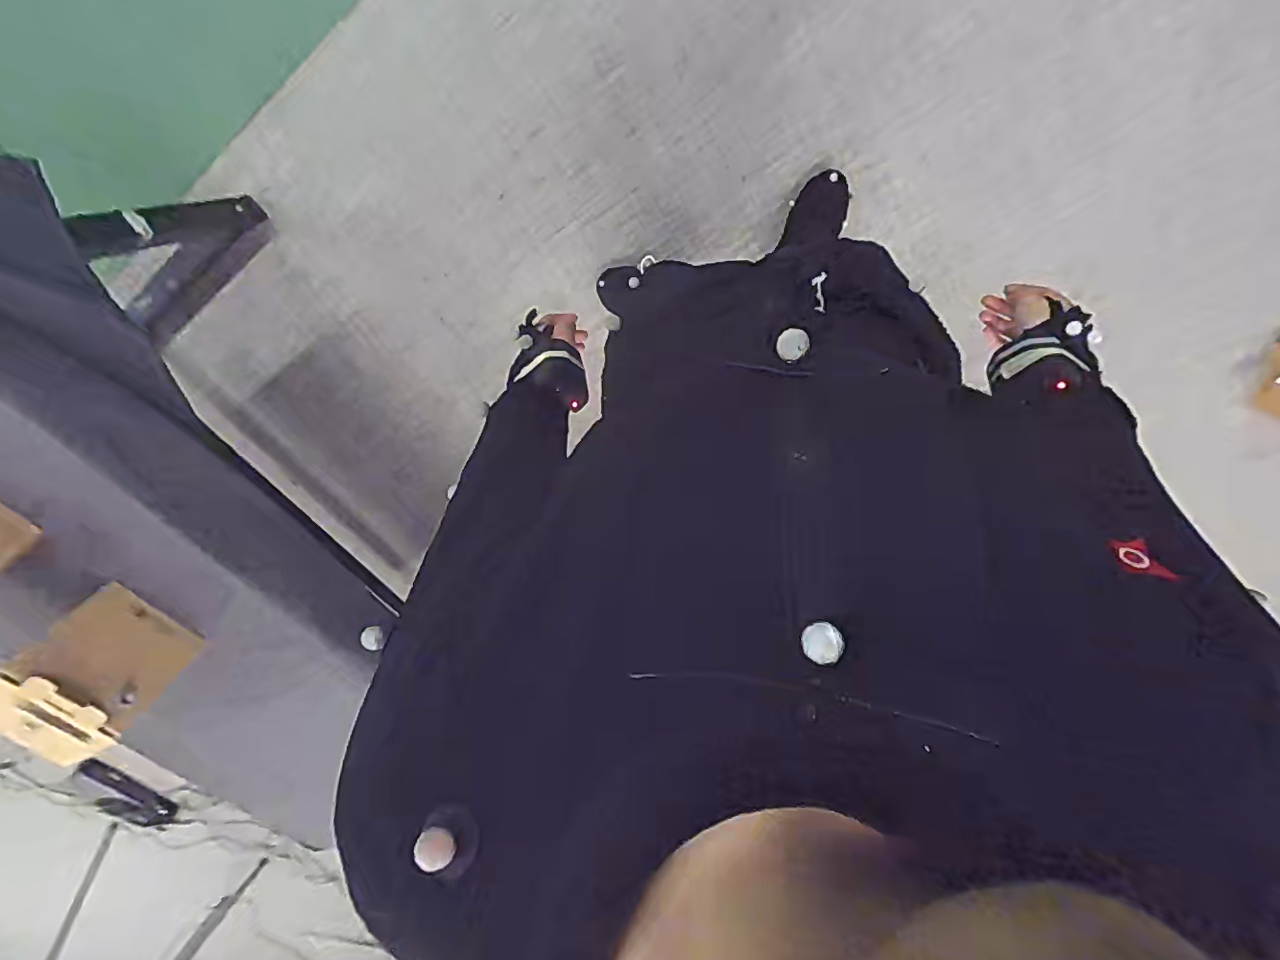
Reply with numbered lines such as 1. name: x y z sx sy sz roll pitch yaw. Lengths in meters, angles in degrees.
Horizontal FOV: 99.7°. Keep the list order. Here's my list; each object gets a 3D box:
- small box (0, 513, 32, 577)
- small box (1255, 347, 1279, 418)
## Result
1. small box: -0.984 0.101 0.710 0.179 0.176 0.168 -29 114 22
2. small box: 1.493 -0.209 1.140 0.179 0.176 0.168 -9 121 11
